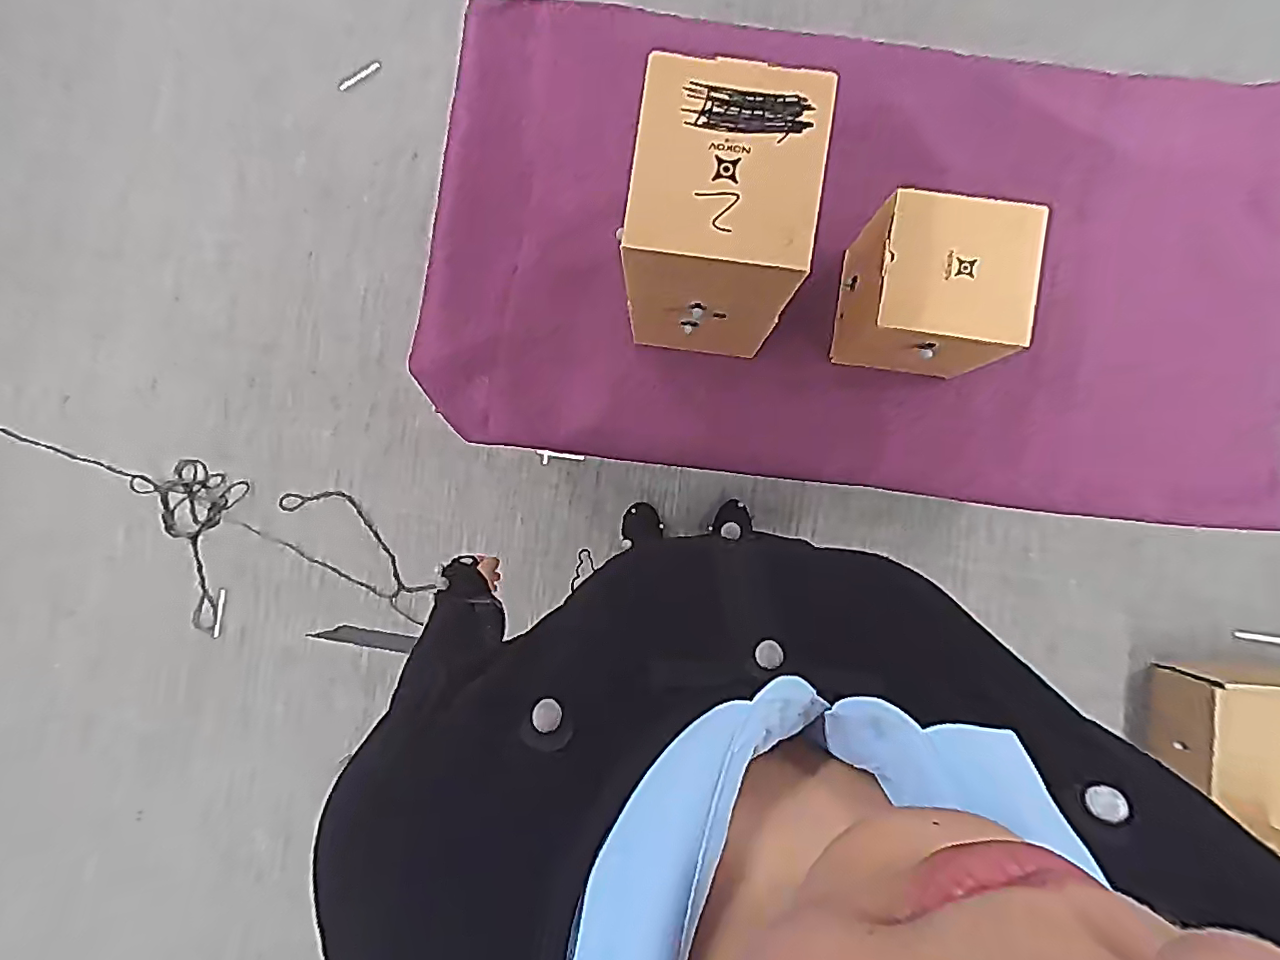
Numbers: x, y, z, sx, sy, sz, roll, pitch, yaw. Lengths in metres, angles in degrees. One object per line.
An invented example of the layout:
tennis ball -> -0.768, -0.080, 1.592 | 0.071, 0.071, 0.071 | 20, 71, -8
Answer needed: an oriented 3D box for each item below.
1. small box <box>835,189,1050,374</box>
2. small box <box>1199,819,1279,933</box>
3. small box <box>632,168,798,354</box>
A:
small box -> 0.374, -0.241, 0.699 | 0.179, 0.176, 0.168 | 9, 89, 4
small box -> 1.510, 0.949, 1.298 | 0.179, 0.176, 0.168 | 5, 89, 2
small box -> 0.090, -0.273, 0.710 | 0.179, 0.176, 0.168 | 8, 89, 2
